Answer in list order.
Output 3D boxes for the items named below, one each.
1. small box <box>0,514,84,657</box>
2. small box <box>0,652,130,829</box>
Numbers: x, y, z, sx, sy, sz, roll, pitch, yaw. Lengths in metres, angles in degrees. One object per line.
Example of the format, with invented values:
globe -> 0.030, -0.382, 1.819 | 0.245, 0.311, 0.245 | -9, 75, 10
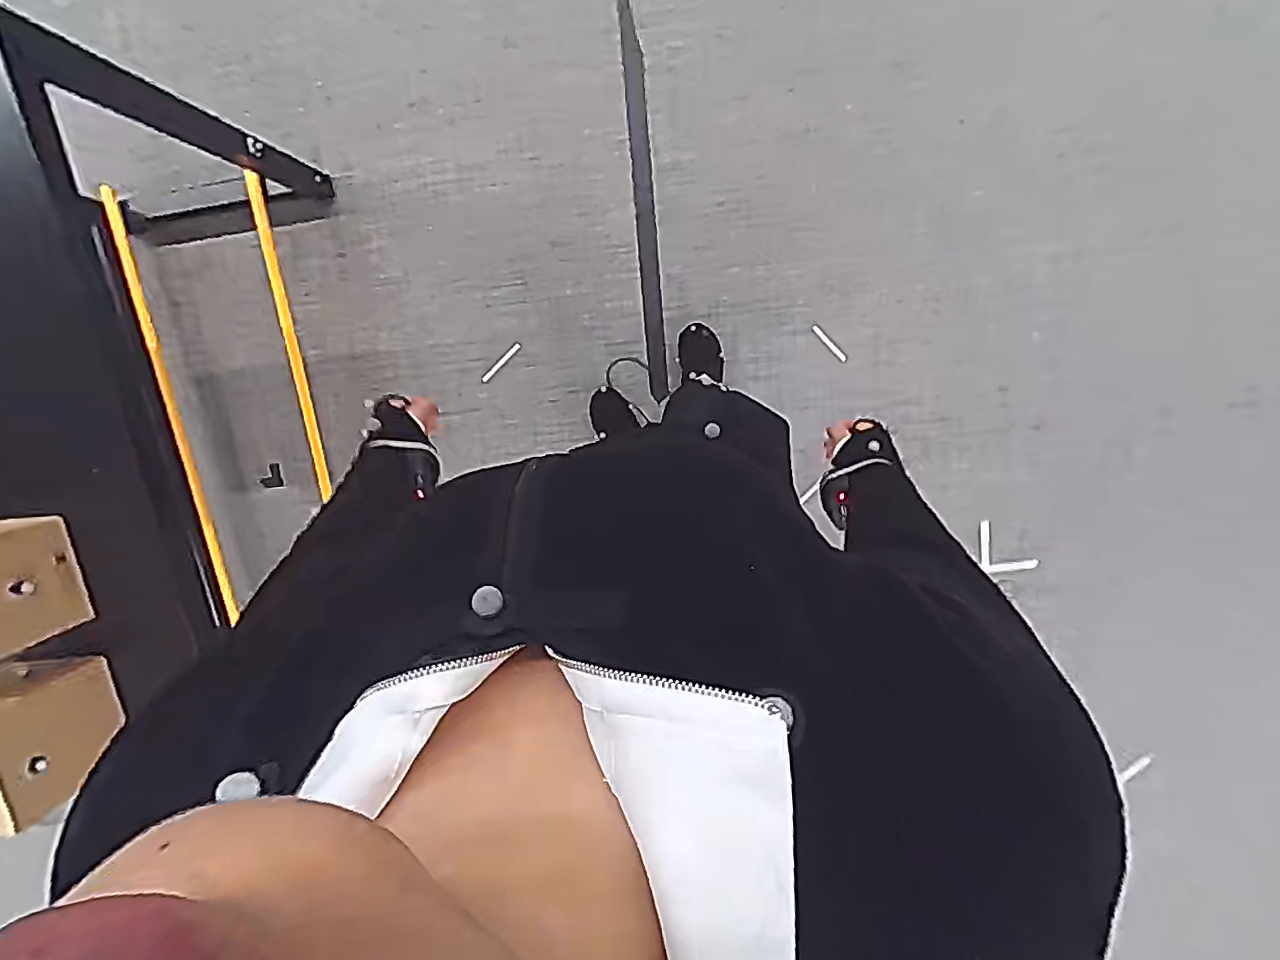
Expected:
small box -> -0.938, 0.151, 0.748 | 0.179, 0.176, 0.168 | -5, 103, 3
small box -> -0.919, 0.378, 0.798 | 0.168, 0.176, 0.179 | -5, 102, 4
